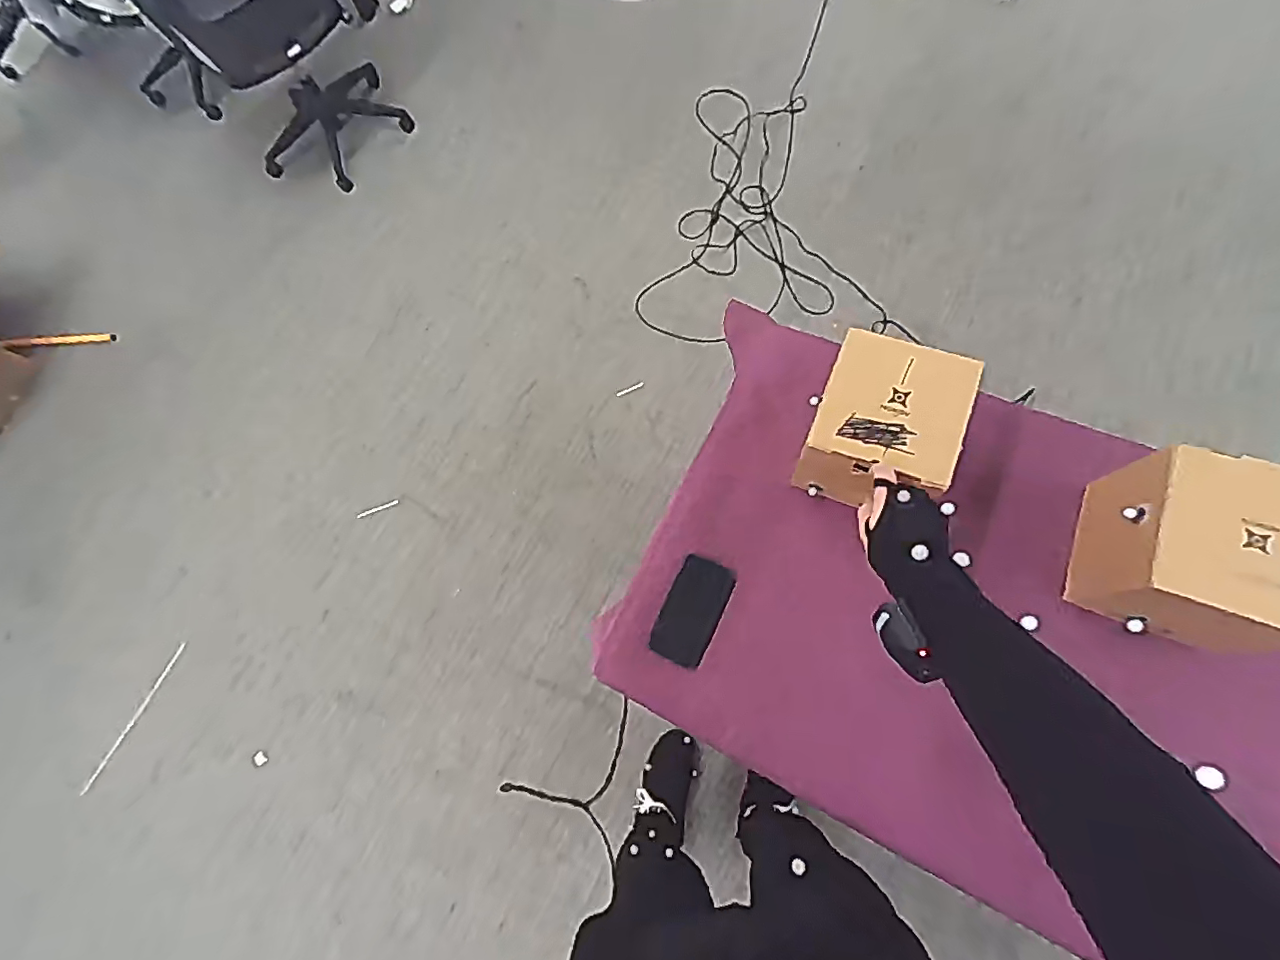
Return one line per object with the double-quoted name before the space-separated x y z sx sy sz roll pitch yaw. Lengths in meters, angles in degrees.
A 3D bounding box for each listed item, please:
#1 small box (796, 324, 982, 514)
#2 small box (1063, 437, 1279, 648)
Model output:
"small box" 0.320 -0.073 0.730 0.168 0.176 0.179 21 75 14
"small box" 0.643 0.081 0.633 0.168 0.176 0.179 21 76 16
